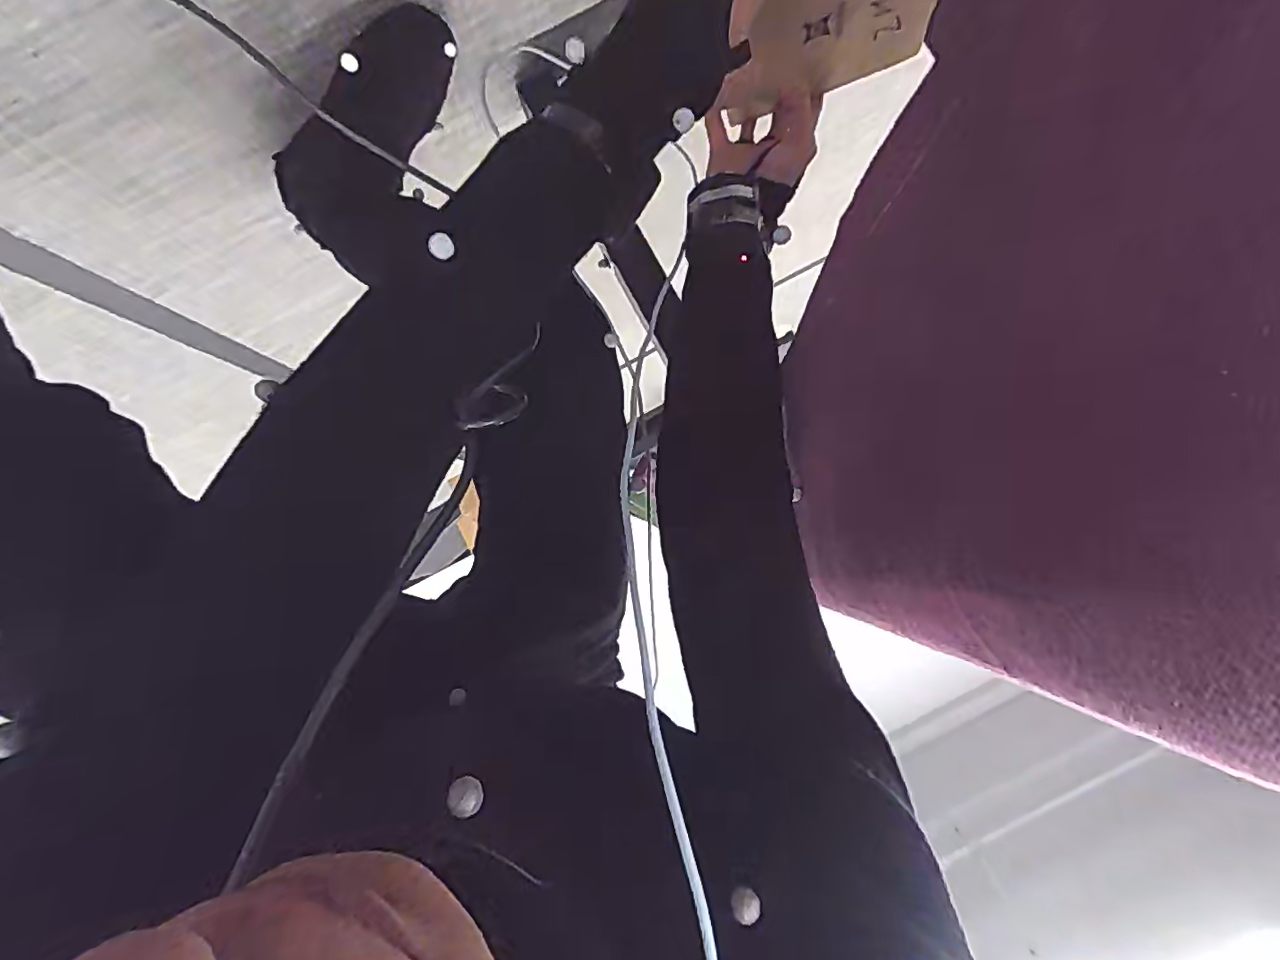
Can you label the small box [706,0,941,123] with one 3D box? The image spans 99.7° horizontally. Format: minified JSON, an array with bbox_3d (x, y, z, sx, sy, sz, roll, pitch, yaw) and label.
[{"bbox_3d":[0.135,-0.442,0.428,0.179,0.176,0.168,-13,178,15],"label":"small box"}]
